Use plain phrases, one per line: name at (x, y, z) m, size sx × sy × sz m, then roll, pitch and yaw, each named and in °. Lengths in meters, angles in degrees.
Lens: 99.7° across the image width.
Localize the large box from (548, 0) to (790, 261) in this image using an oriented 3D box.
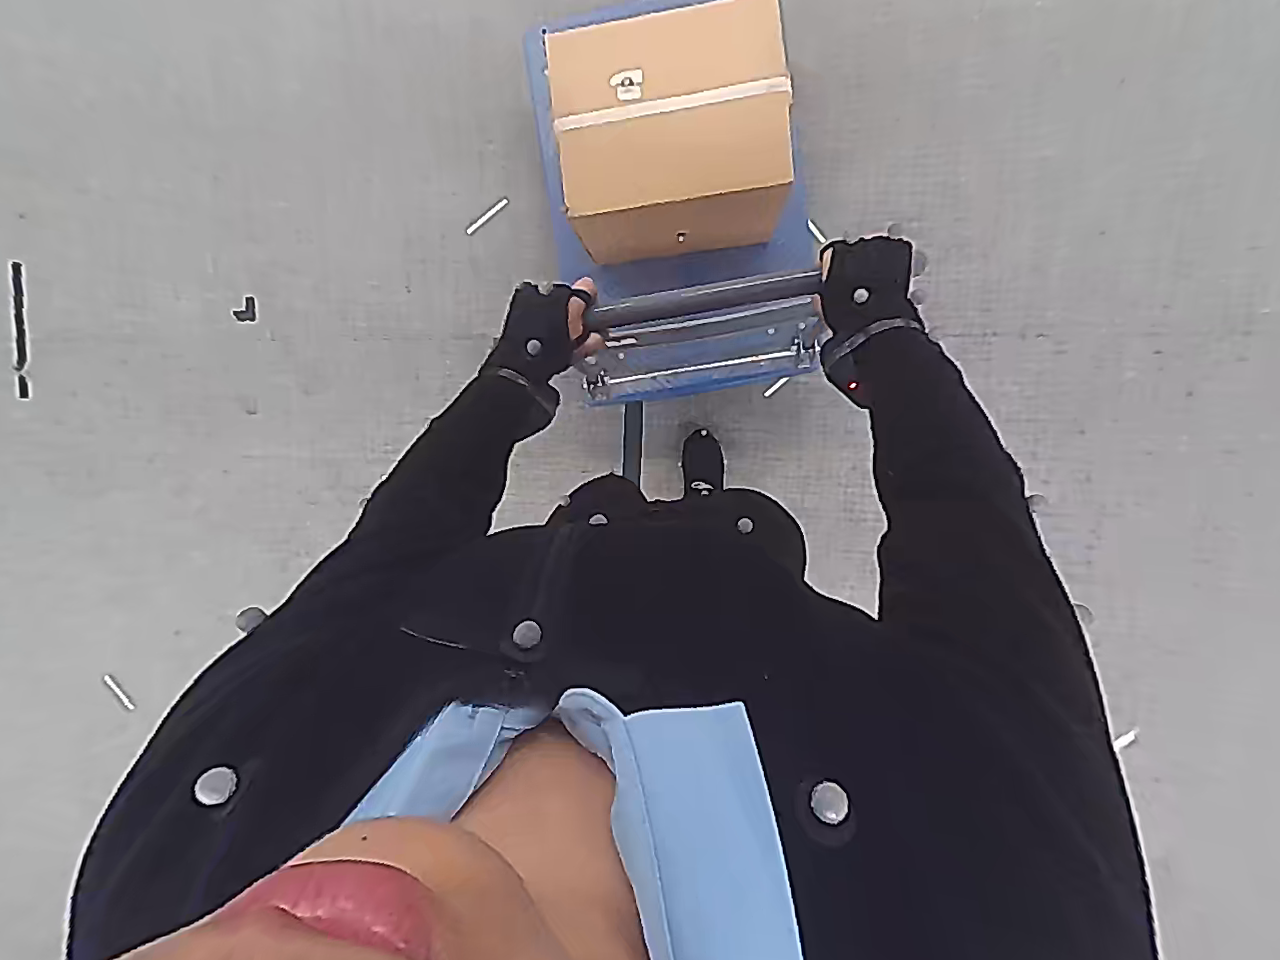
large box at (0.065, -0.671, 1.099) m, size 0.408 × 0.320 × 0.320 m, roll -6°, pitch 94°, yaw 6°
